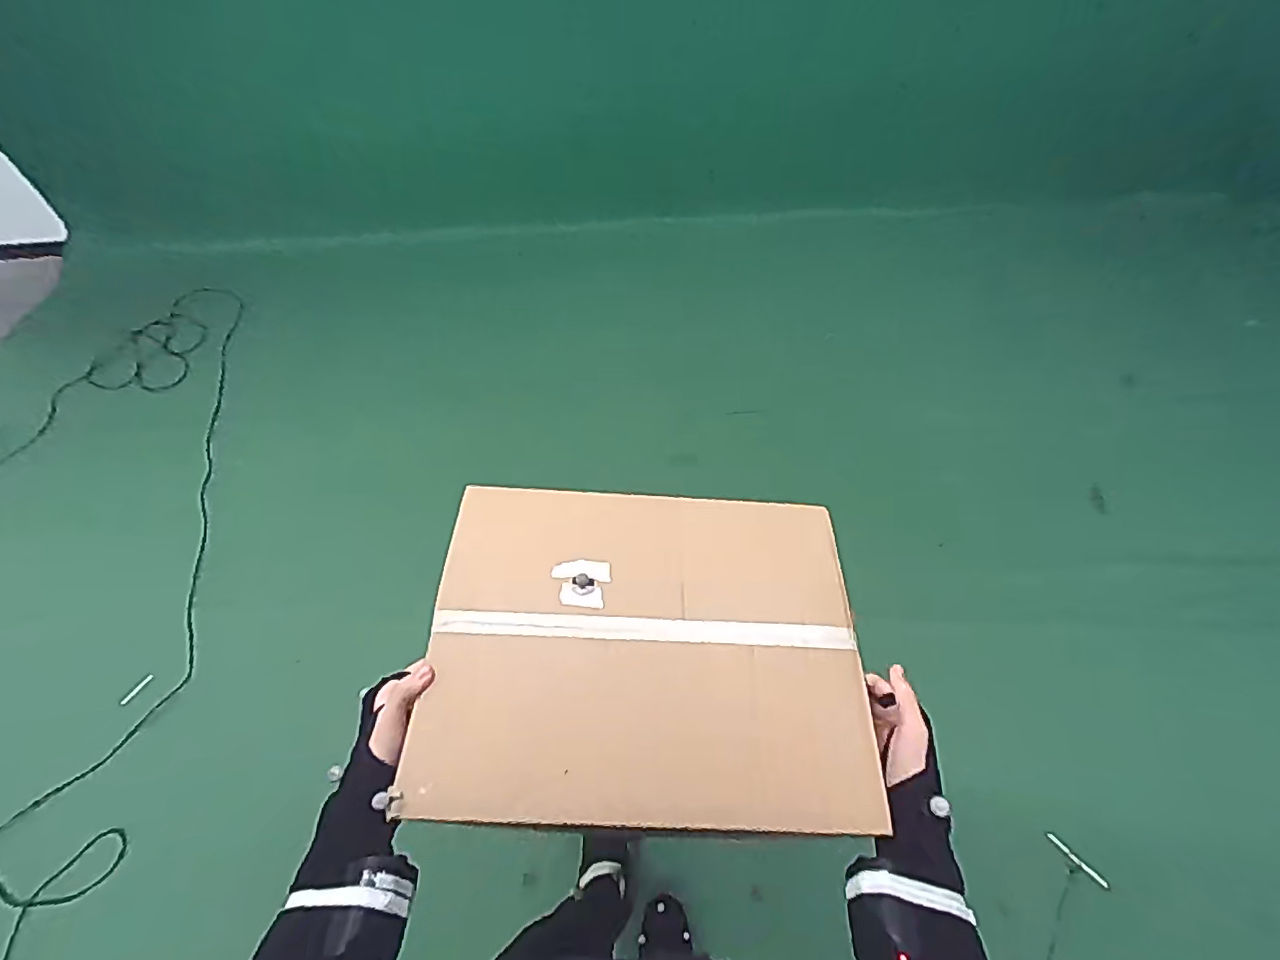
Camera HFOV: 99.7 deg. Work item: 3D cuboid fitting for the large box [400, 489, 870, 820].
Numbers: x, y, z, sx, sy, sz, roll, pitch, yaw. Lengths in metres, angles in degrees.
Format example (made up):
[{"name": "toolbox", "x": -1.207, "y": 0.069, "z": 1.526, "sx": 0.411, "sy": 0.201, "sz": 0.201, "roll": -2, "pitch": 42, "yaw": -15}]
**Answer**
[{"name": "large box", "x": -0.005, "y": 0.226, "z": 0.655, "sx": 0.408, "sy": 0.320, "sz": 0.320, "roll": 3, "pitch": 56, "yaw": -2}]
